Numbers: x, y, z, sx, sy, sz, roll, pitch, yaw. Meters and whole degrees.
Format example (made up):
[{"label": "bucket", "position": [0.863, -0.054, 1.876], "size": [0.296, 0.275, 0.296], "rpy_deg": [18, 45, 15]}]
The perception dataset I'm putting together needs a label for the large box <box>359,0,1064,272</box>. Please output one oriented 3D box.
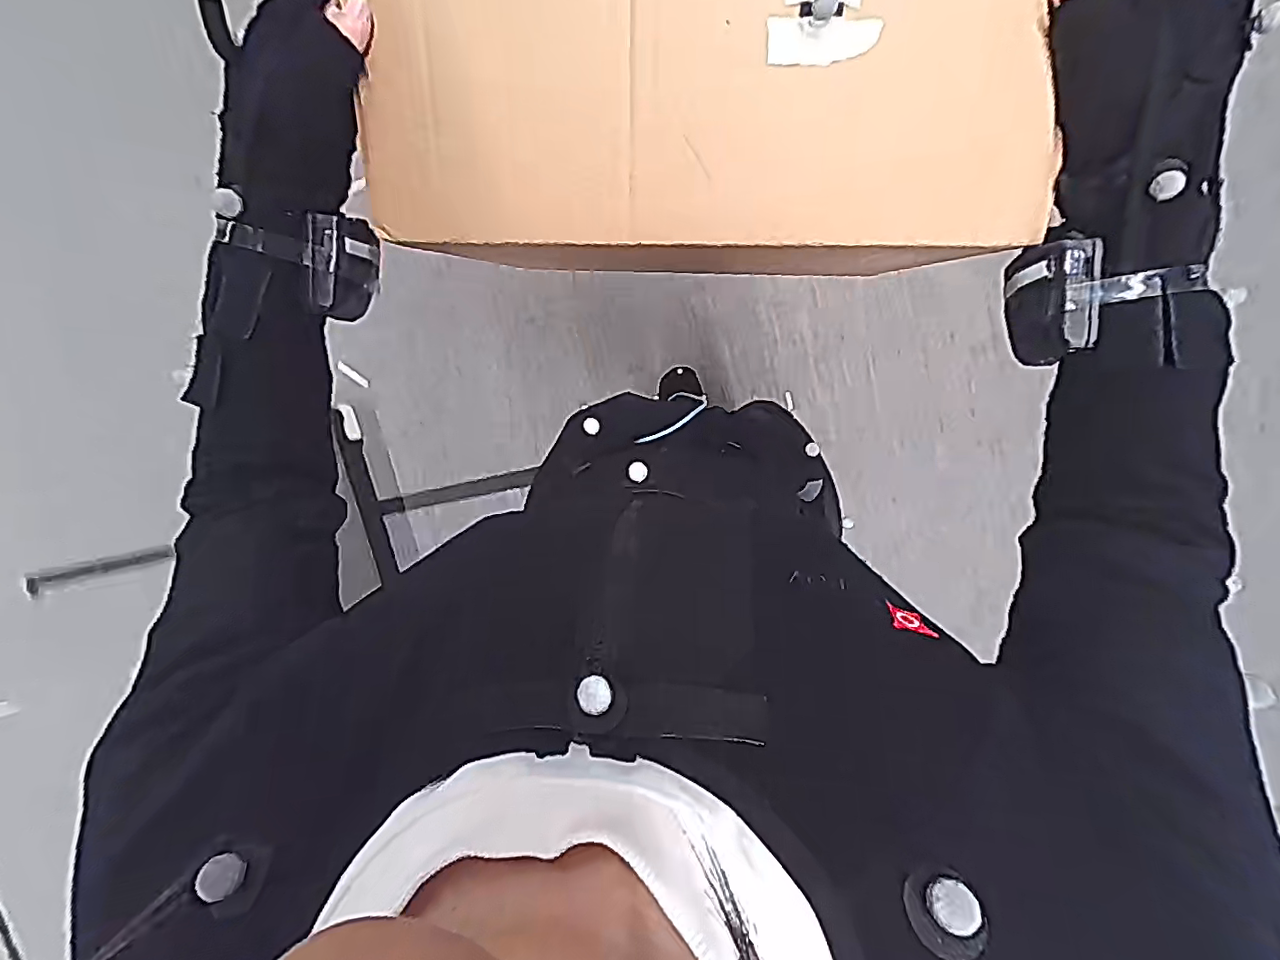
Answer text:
[{"label": "large box", "position": [0.043, -0.347, 0.437], "size": [0.408, 0.320, 0.320], "rpy_deg": [1, 109, 5]}]
